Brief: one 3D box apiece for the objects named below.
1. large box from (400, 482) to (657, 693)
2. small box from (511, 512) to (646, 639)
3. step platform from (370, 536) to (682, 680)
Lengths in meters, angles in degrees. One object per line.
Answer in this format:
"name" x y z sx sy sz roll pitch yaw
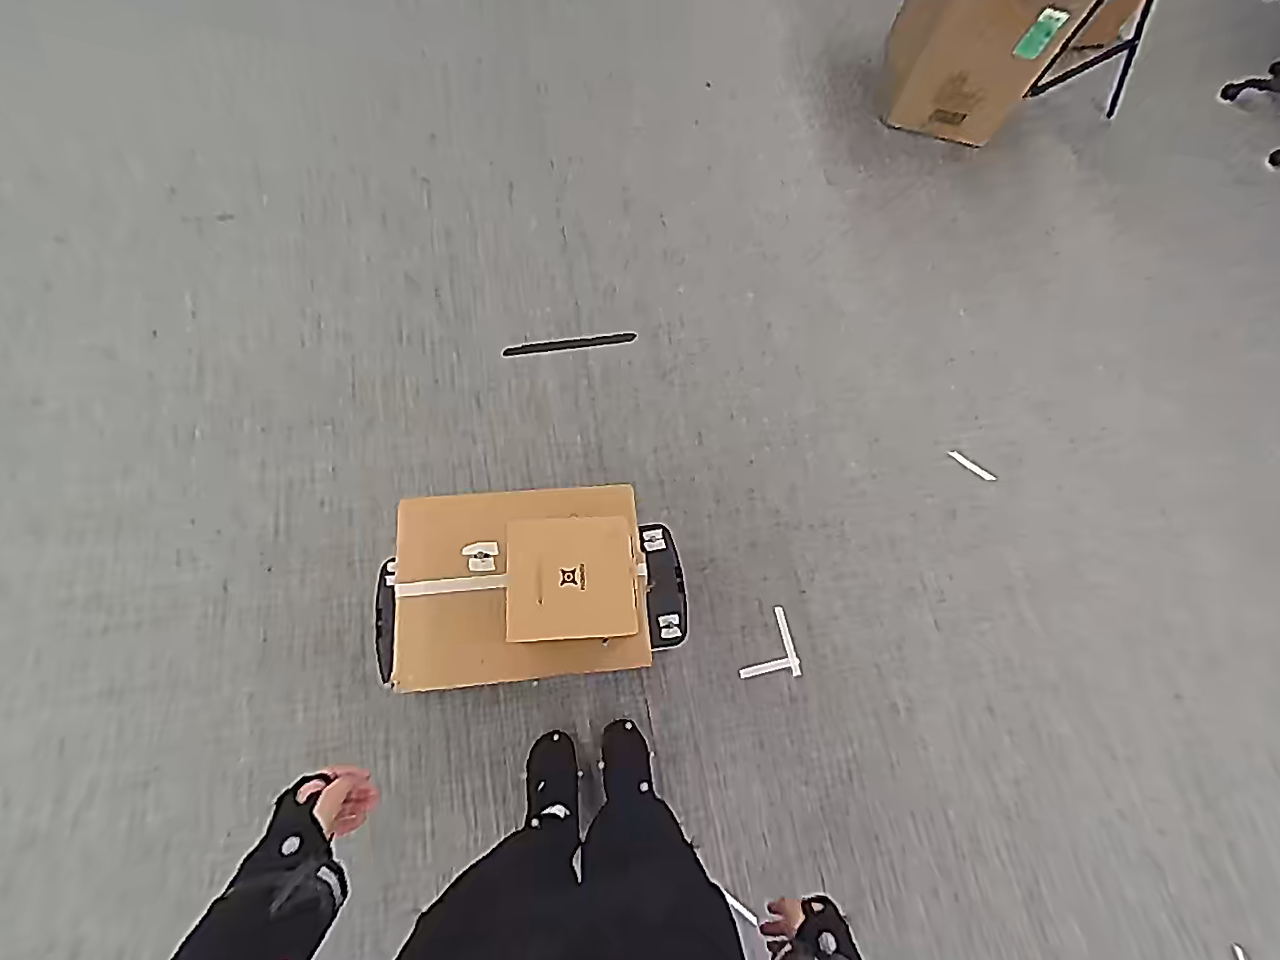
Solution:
"large box" -0.196 0.210 1.028 0.408 0.320 0.320 -4 71 -6
"small box" -0.090 0.147 0.800 0.179 0.176 0.168 -1 72 -6
"step platform" -0.244 0.292 1.248 0.684 0.204 0.286 -2 72 -6
